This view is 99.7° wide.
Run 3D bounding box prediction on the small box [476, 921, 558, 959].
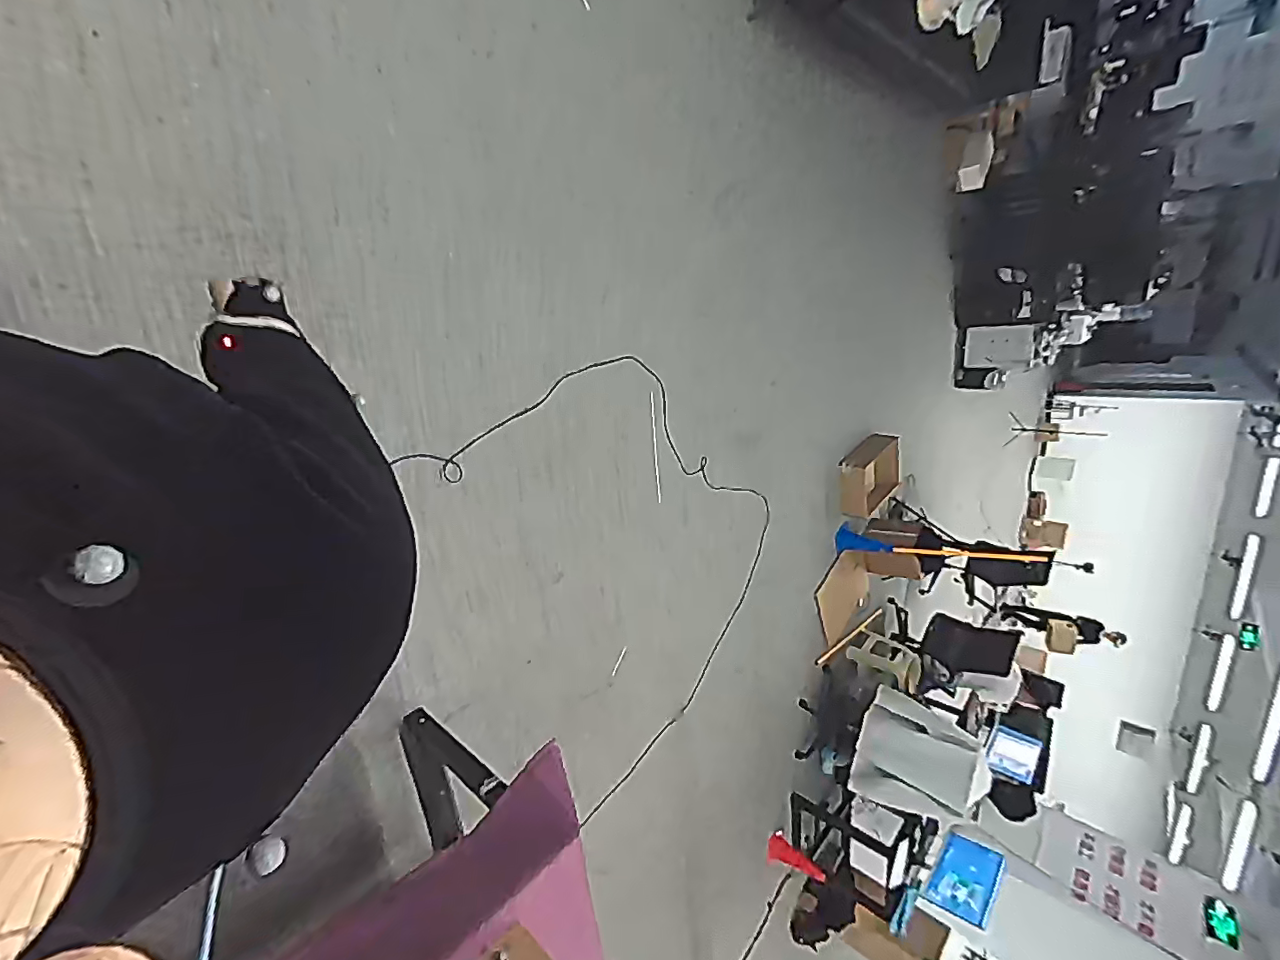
[{"bbox_3d":[-0.226,0.992,1.006,0.168,0.176,0.179,-17,110,-44],"label":"small box"}]
